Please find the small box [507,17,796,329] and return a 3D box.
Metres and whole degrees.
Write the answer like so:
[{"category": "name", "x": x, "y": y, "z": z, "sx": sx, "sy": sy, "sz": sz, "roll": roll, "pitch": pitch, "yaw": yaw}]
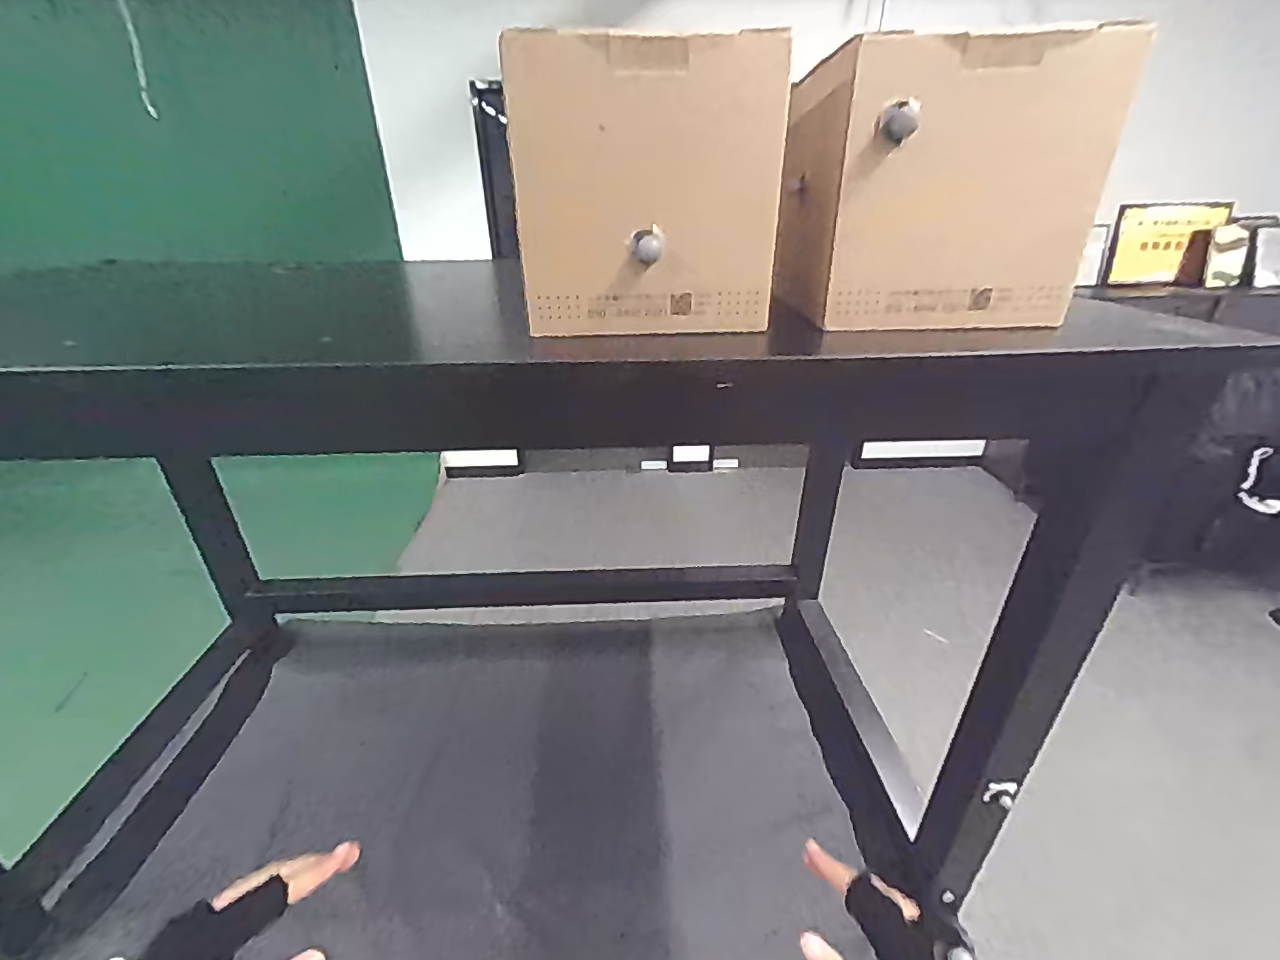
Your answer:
[{"category": "small box", "x": 0.003, "y": -0.217, "z": 0.410, "sx": 0.168, "sy": 0.176, "sz": 0.179, "roll": -2, "pitch": 27, "yaw": -2}]
